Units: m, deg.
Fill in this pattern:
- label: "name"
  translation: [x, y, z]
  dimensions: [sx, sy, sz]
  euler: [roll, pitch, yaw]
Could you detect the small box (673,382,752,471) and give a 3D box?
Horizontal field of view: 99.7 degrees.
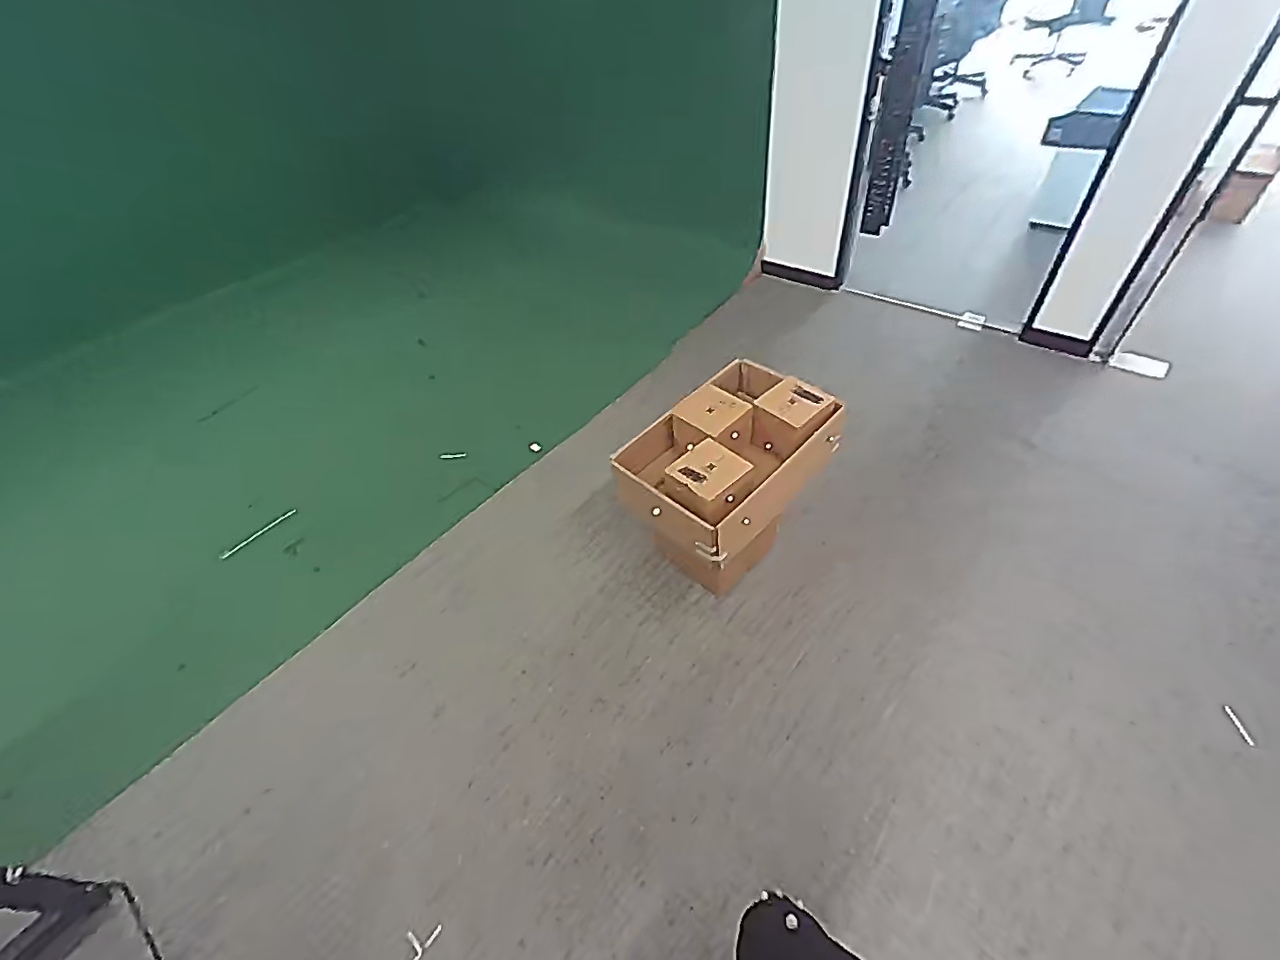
- label: "small box"
  translation: [0.219, -0.158, 1.627]
  dimensions: [0.179, 0.176, 0.168]
  euler: [-39, 56, -24]
